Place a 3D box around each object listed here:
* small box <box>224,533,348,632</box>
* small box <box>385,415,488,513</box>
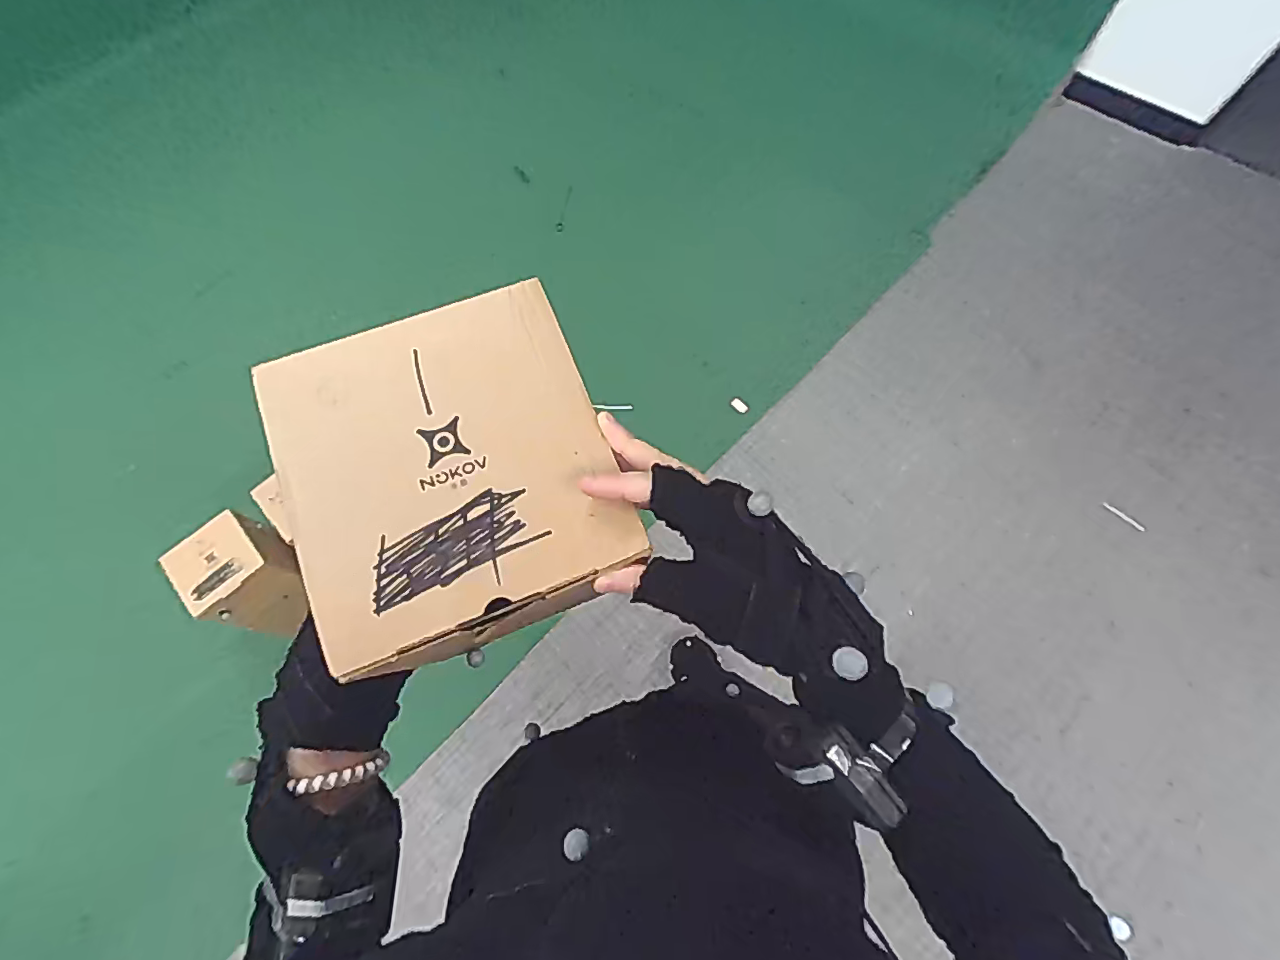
[{"bbox_3d":[-0.885,0.267,1.370,0.168,0.176,0.179,-39,71,-12],"label":"small box"},{"bbox_3d":[-0.548,-0.036,1.478,0.179,0.176,0.168,42,75,17],"label":"small box"}]
